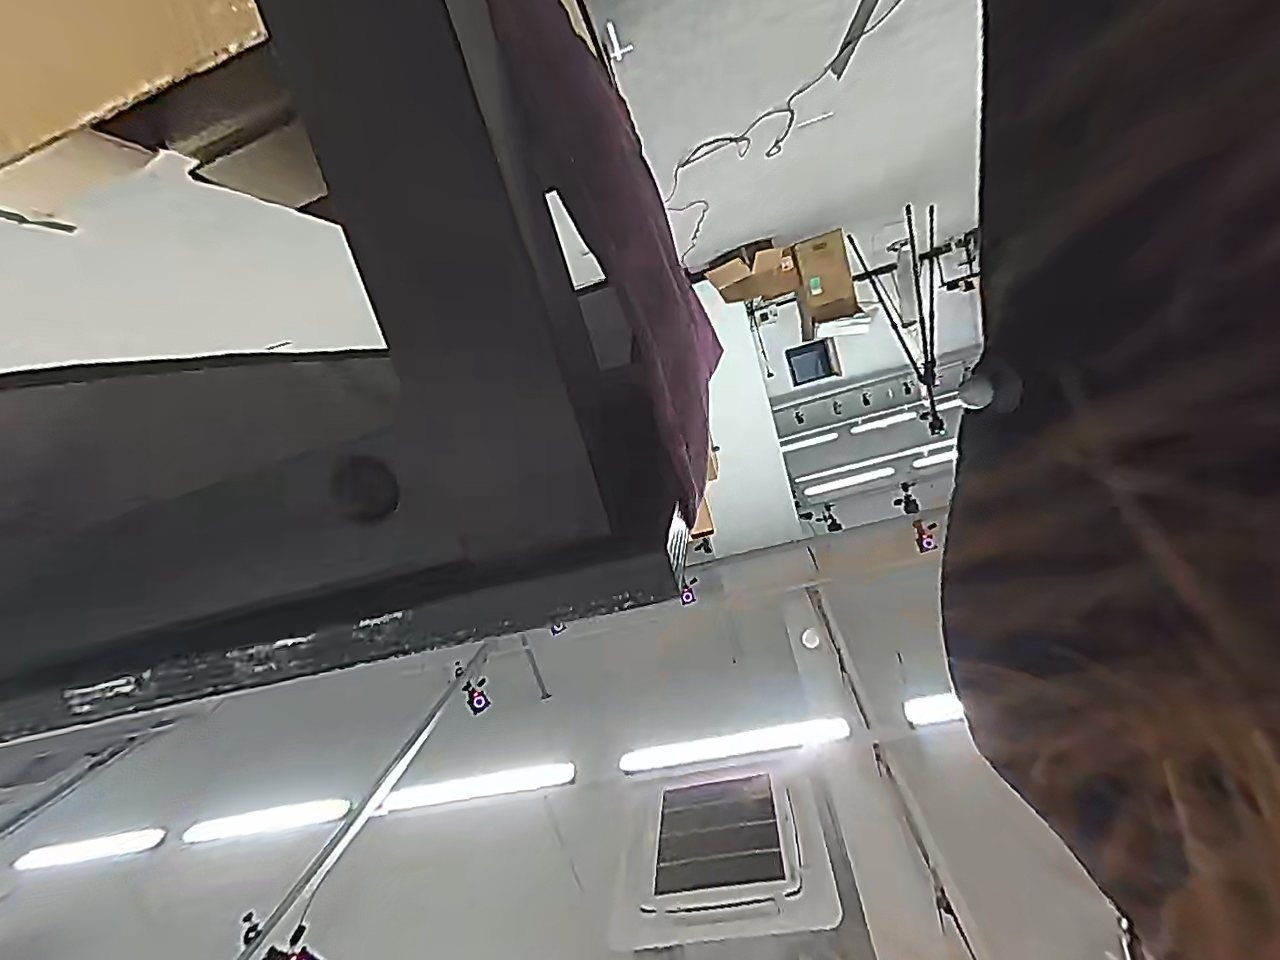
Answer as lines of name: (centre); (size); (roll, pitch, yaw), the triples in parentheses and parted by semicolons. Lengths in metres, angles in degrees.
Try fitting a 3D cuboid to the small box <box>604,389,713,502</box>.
small box: (0.042, -0.076, 1.065); (0.168, 0.176, 0.179); (-16, -170, 11)
